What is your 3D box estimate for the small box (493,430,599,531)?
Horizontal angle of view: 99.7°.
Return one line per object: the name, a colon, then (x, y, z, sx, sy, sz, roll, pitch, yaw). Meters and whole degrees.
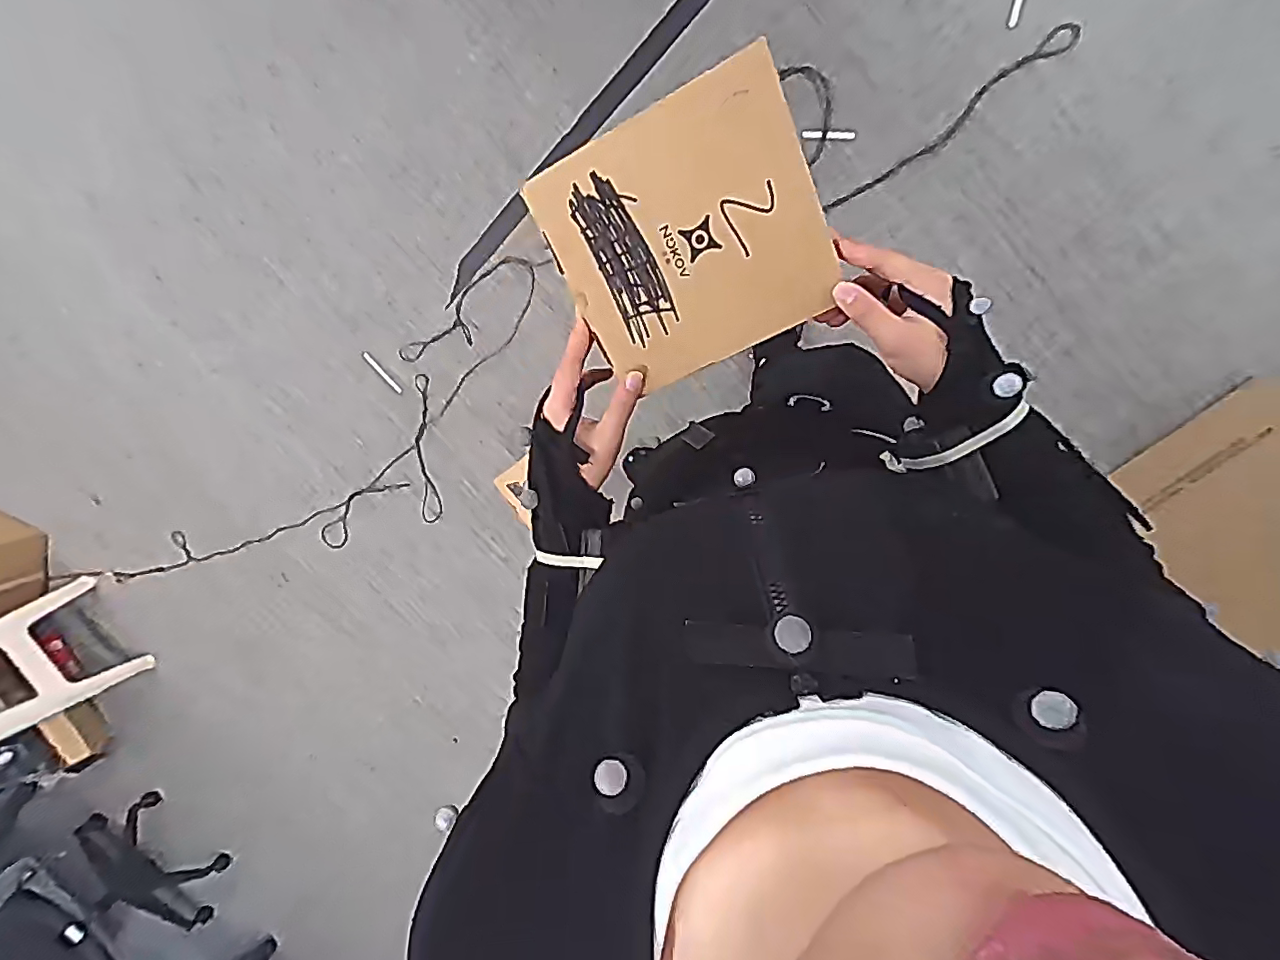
small box: (-0.226, -0.004, 1.357, 0.179, 0.176, 0.168, -34, 98, 16)
